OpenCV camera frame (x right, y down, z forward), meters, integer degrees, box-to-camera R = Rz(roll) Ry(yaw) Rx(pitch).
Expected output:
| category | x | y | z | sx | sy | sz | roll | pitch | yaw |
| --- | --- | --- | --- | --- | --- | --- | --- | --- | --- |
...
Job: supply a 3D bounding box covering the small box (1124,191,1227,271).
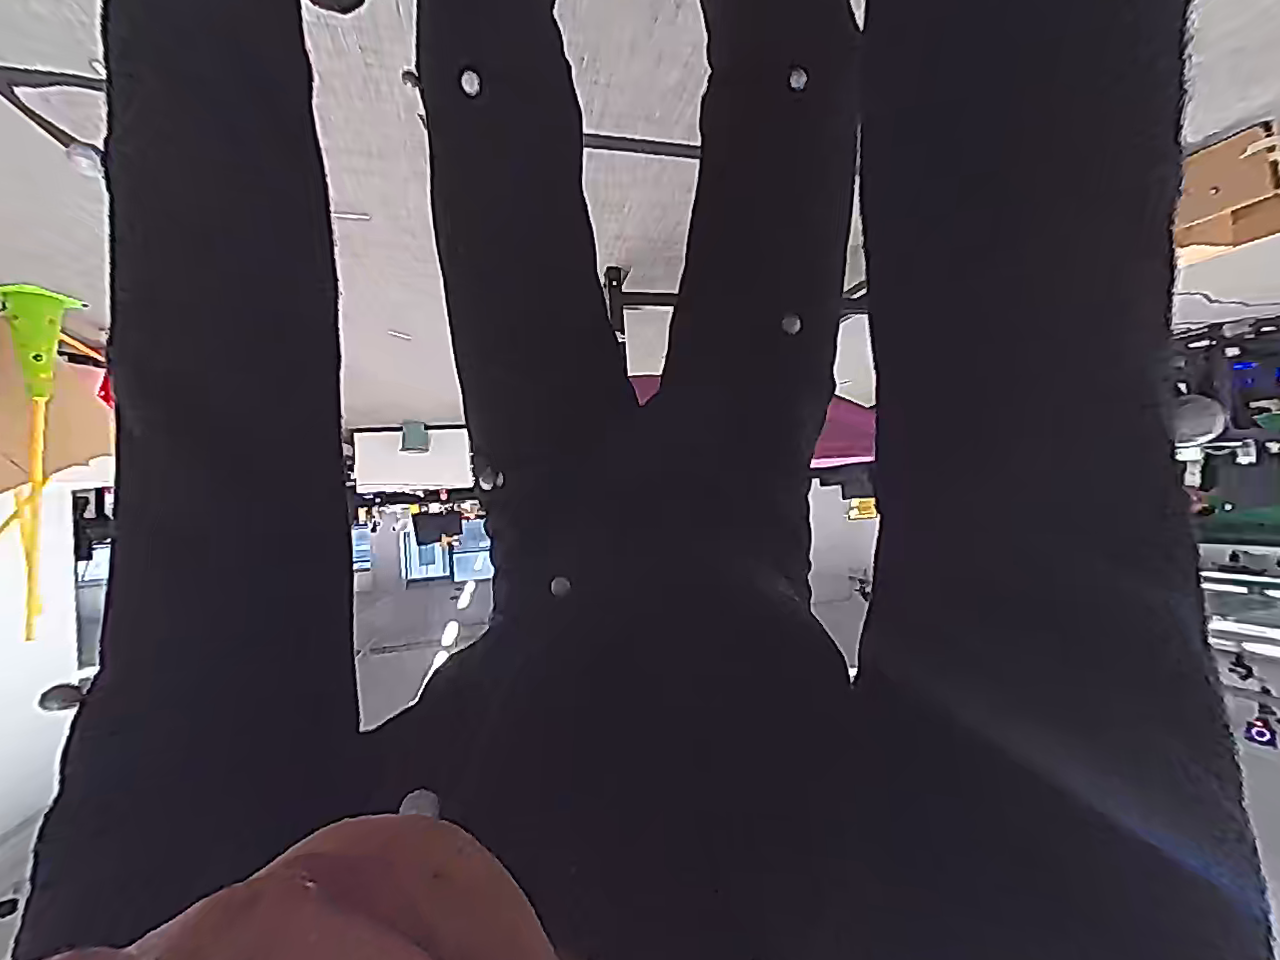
| category | x | y | z | sx | sy | sz | roll | pitch | yaw |
| --- | --- | --- | --- | --- | --- | --- | --- | --- | --- |
| small box | 1.630 | -0.759 | 1.652 | 0.179 | 0.176 | 0.168 | -3 | 180 | -16 |
